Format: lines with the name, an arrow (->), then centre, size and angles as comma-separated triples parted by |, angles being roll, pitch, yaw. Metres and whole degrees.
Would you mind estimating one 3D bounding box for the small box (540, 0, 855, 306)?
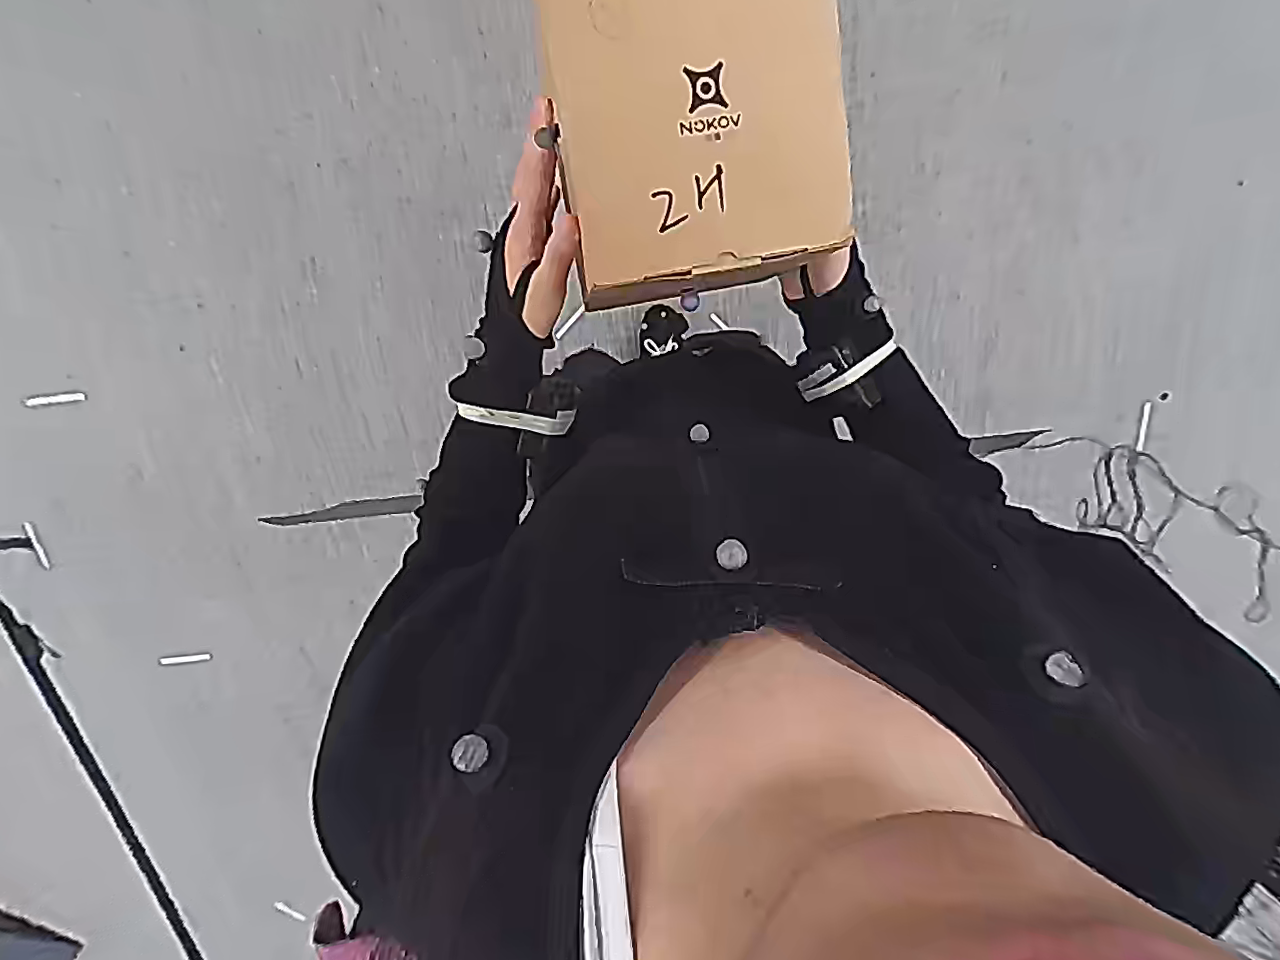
small box -> 0.027, -0.232, 0.382 | 0.168, 0.176, 0.179 | -12, 104, -4
